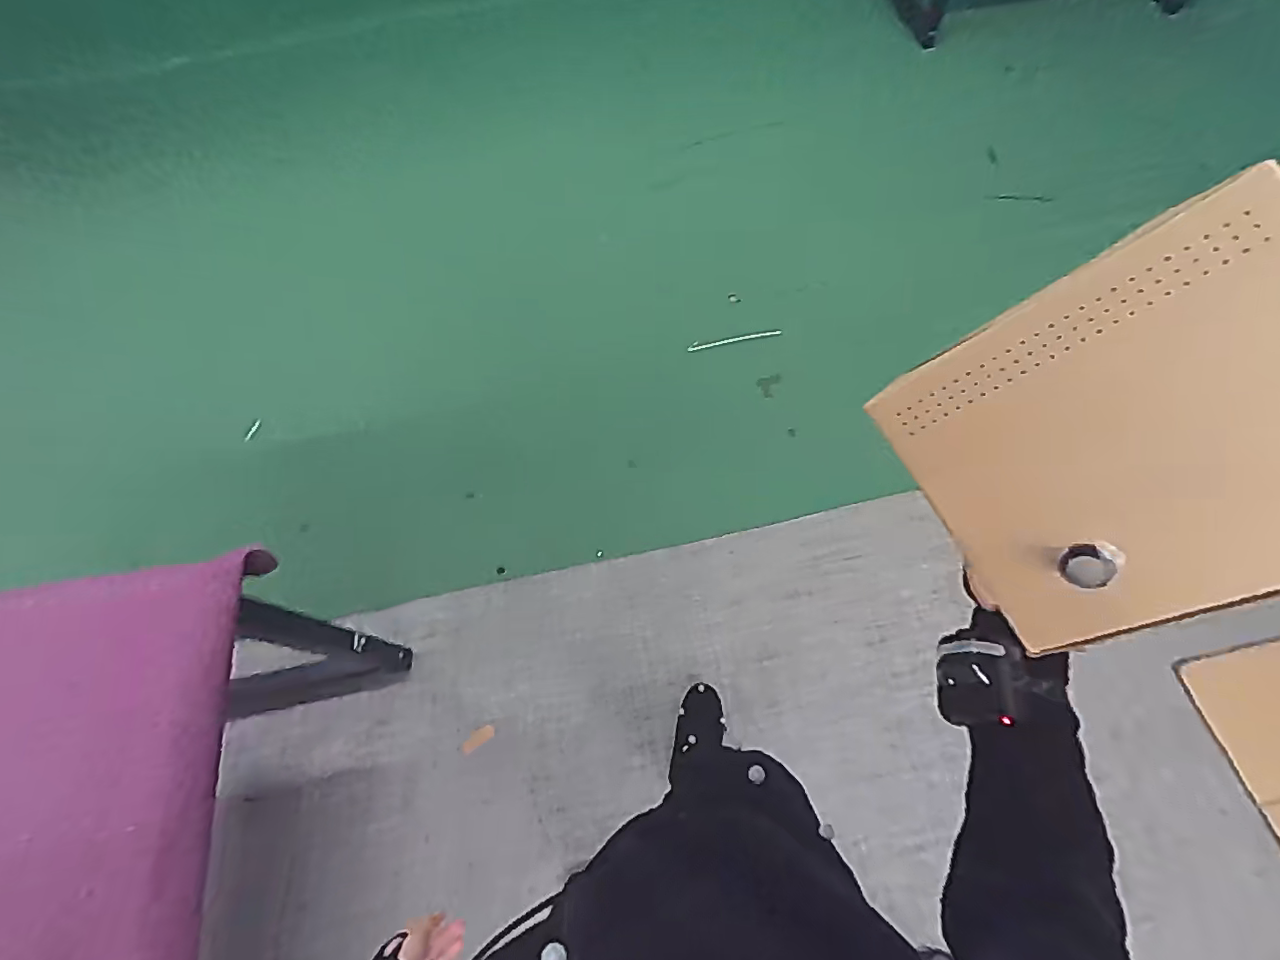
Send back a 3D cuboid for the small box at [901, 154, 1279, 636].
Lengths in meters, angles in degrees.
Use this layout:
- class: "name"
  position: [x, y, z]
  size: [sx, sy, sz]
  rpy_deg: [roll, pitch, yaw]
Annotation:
- class: "small box"
  position: [0.277, -0.041, 0.318]
  size: [0.176, 0.179, 0.168]
  rpy_deg: [58, 35, 4]
